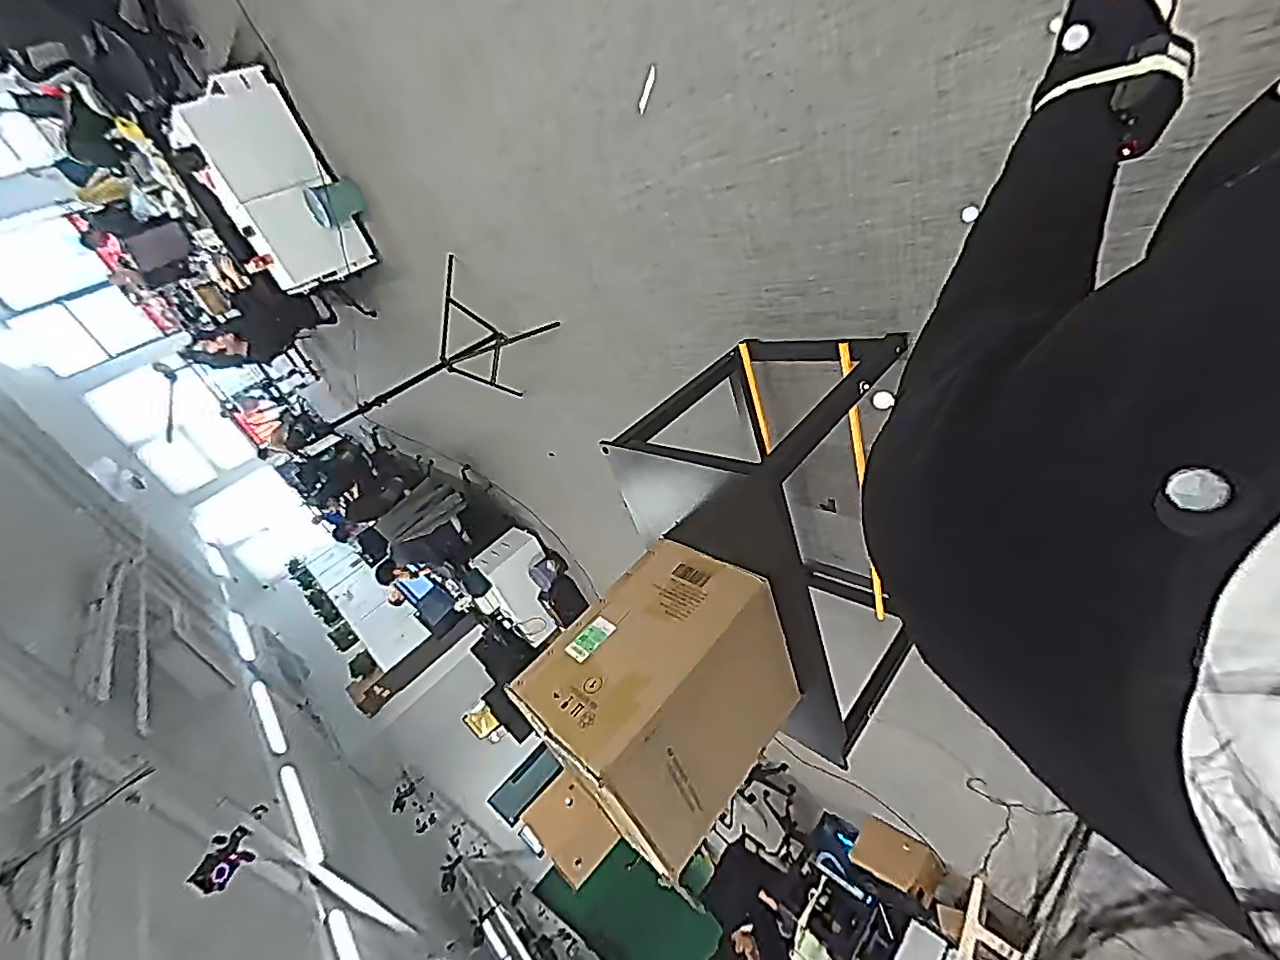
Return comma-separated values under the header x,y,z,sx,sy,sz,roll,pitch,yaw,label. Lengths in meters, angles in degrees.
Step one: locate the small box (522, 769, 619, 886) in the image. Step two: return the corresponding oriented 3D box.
x,y,z,sx,sy,sz,roll,pitch,yaw,label
-0.183,0.939,1.471,0.168,0.176,0.179,18,138,48,small box
